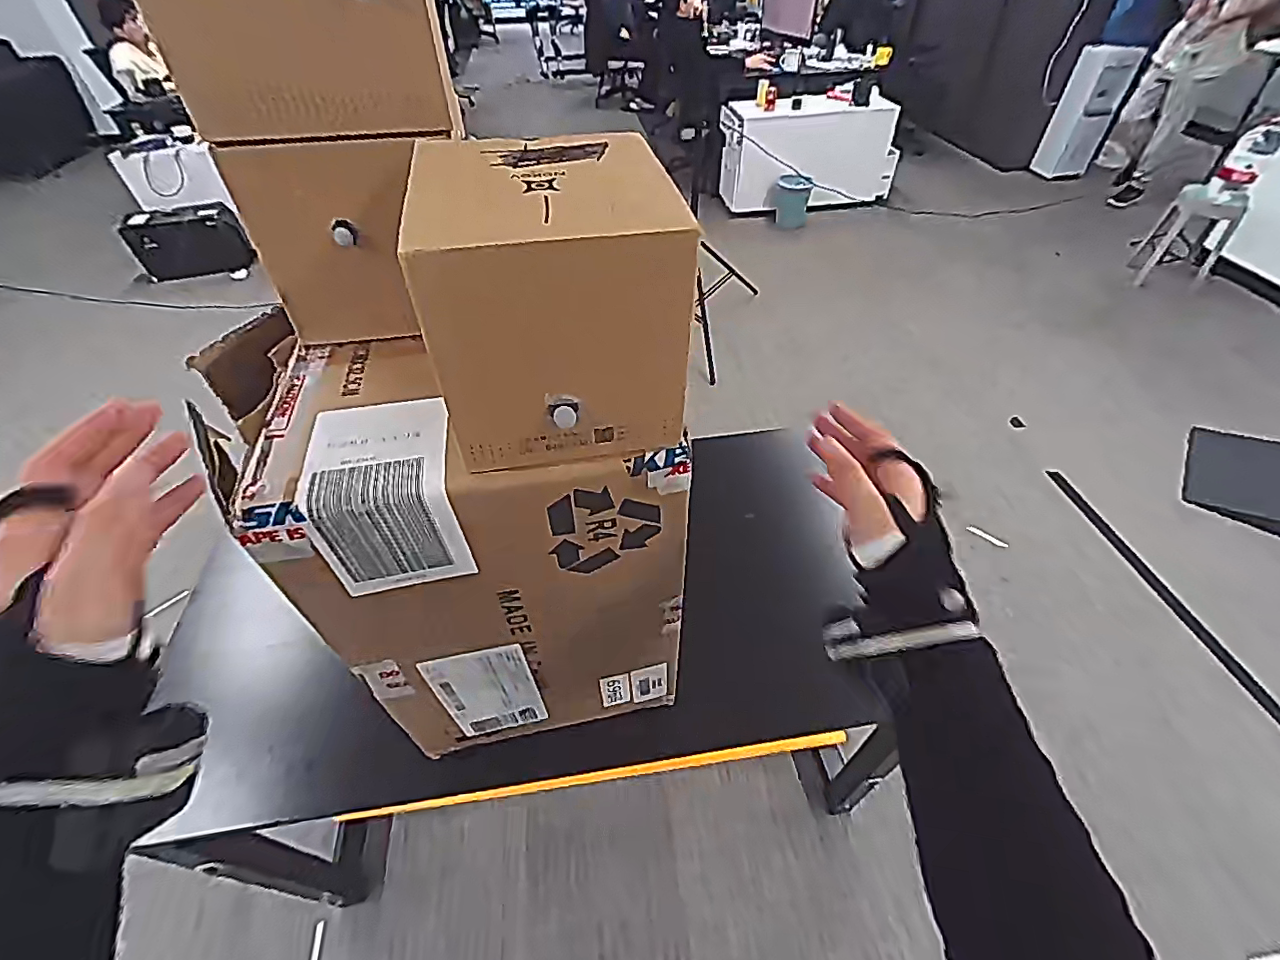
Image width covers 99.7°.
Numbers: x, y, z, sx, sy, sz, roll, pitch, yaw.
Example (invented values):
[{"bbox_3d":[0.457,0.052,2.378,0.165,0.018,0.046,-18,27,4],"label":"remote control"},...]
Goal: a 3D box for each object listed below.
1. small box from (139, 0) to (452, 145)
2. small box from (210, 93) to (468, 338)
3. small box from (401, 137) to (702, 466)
[{"bbox_3d":[-0.243,-0.364,0.397,0.179,0.176,0.168,-11,44,-10],"label":"small box"},{"bbox_3d":[-0.244,-0.250,0.515,0.179,0.176,0.168,-9,45,-8],"label":"small box"},{"bbox_3d":[-0.062,-0.135,0.405,0.168,0.176,0.179,-9,48,-8],"label":"small box"}]
